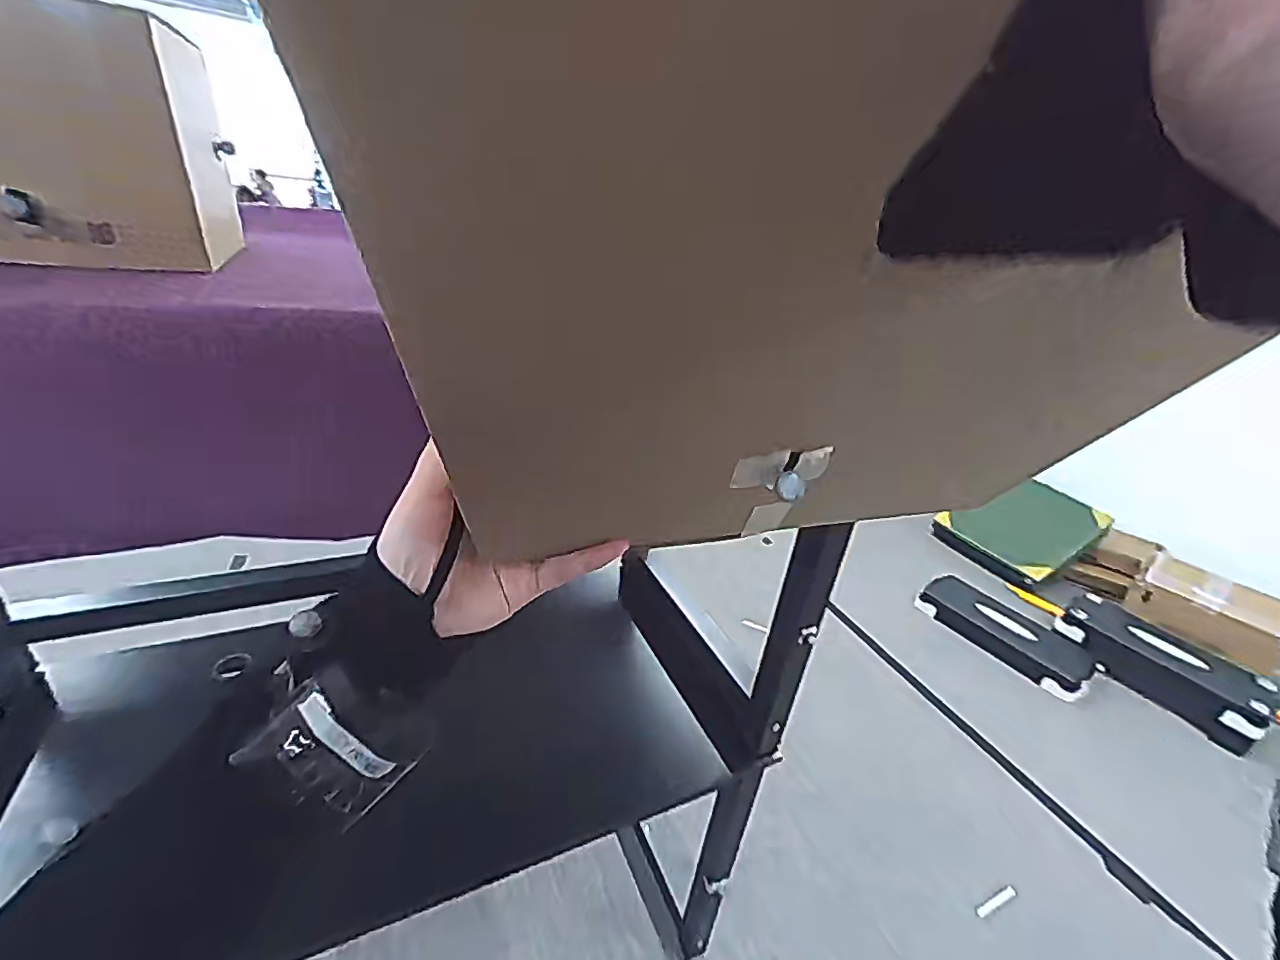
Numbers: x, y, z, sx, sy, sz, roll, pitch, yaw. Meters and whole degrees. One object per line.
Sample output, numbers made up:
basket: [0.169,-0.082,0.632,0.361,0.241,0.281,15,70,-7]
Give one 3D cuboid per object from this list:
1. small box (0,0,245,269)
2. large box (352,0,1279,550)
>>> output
small box: [-0.435,-0.271,0.425,0.168,0.176,0.179,-7,31,-24]
large box: [0.054,-0.219,0.271,0.320,0.320,0.408,-5,63,-12]
